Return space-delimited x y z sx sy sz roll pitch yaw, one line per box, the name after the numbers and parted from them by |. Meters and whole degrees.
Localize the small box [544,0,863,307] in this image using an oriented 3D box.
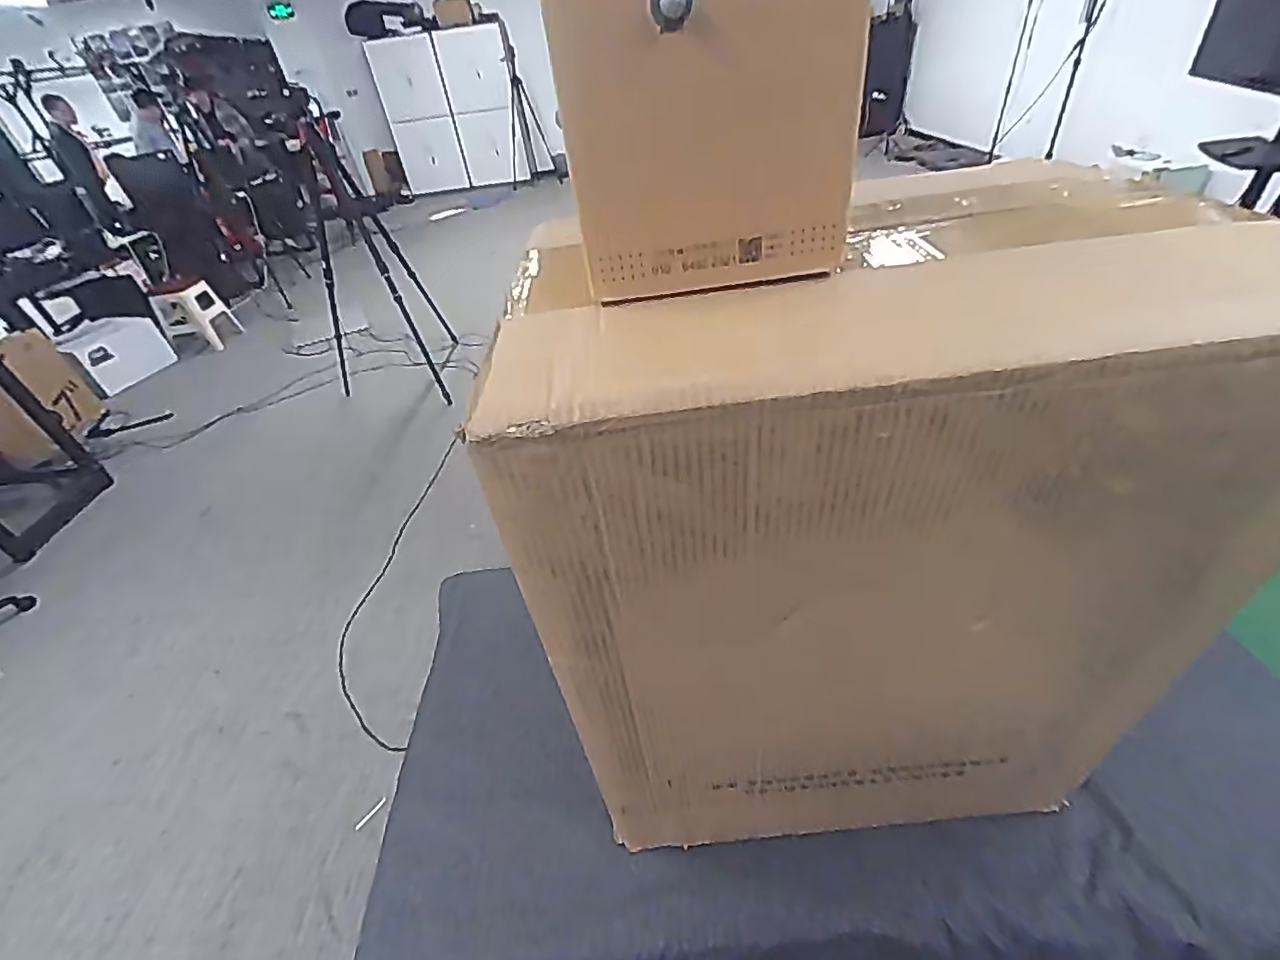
0.039 -0.237 0.385 0.168 0.176 0.179 -7 36 3 | small box
